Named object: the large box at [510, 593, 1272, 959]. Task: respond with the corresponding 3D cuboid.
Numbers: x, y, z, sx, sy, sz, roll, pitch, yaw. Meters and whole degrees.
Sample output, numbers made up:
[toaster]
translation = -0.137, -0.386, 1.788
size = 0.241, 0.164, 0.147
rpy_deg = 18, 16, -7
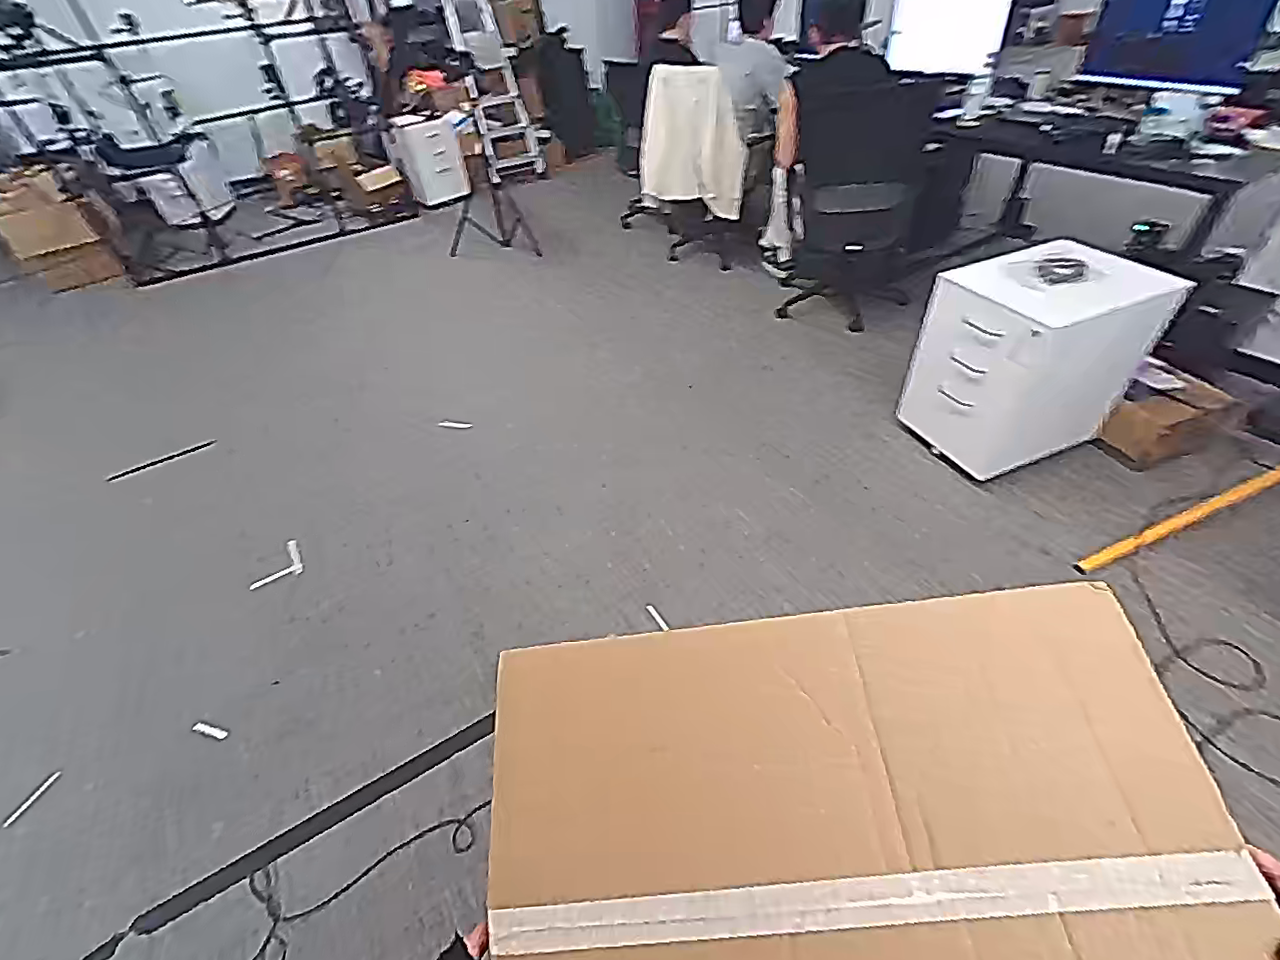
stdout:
[large box]
translation = 0.137, 0.310, 0.434
size = 0.408, 0.320, 0.320
rpy_deg = -9, 62, 5
